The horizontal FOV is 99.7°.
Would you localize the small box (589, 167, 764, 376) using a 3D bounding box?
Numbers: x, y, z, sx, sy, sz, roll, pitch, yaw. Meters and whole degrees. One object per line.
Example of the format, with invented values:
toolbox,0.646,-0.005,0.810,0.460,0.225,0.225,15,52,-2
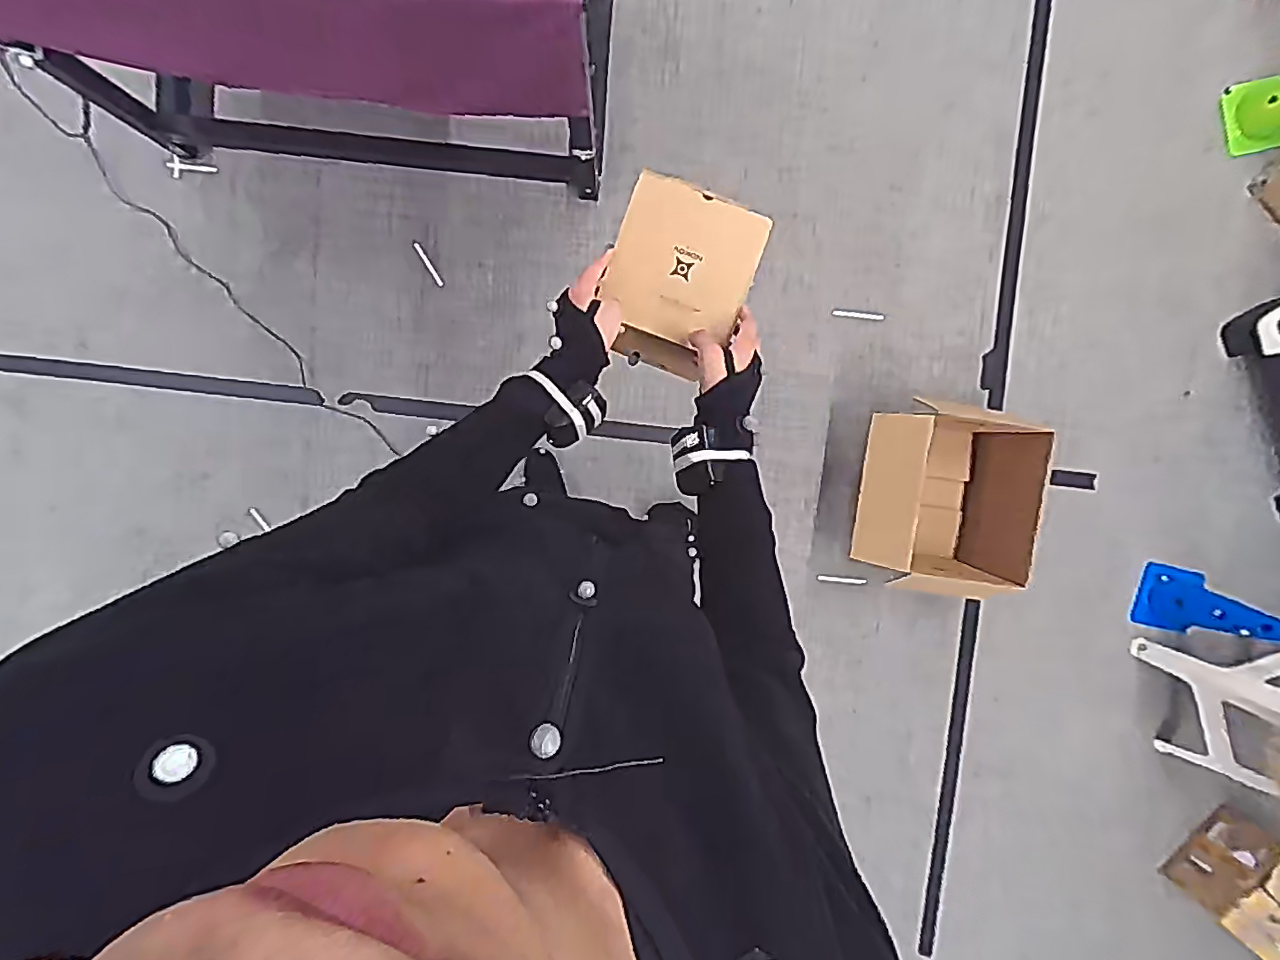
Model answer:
small box,0.037,-0.256,0.709,0.168,0.176,0.179,19,89,-4
